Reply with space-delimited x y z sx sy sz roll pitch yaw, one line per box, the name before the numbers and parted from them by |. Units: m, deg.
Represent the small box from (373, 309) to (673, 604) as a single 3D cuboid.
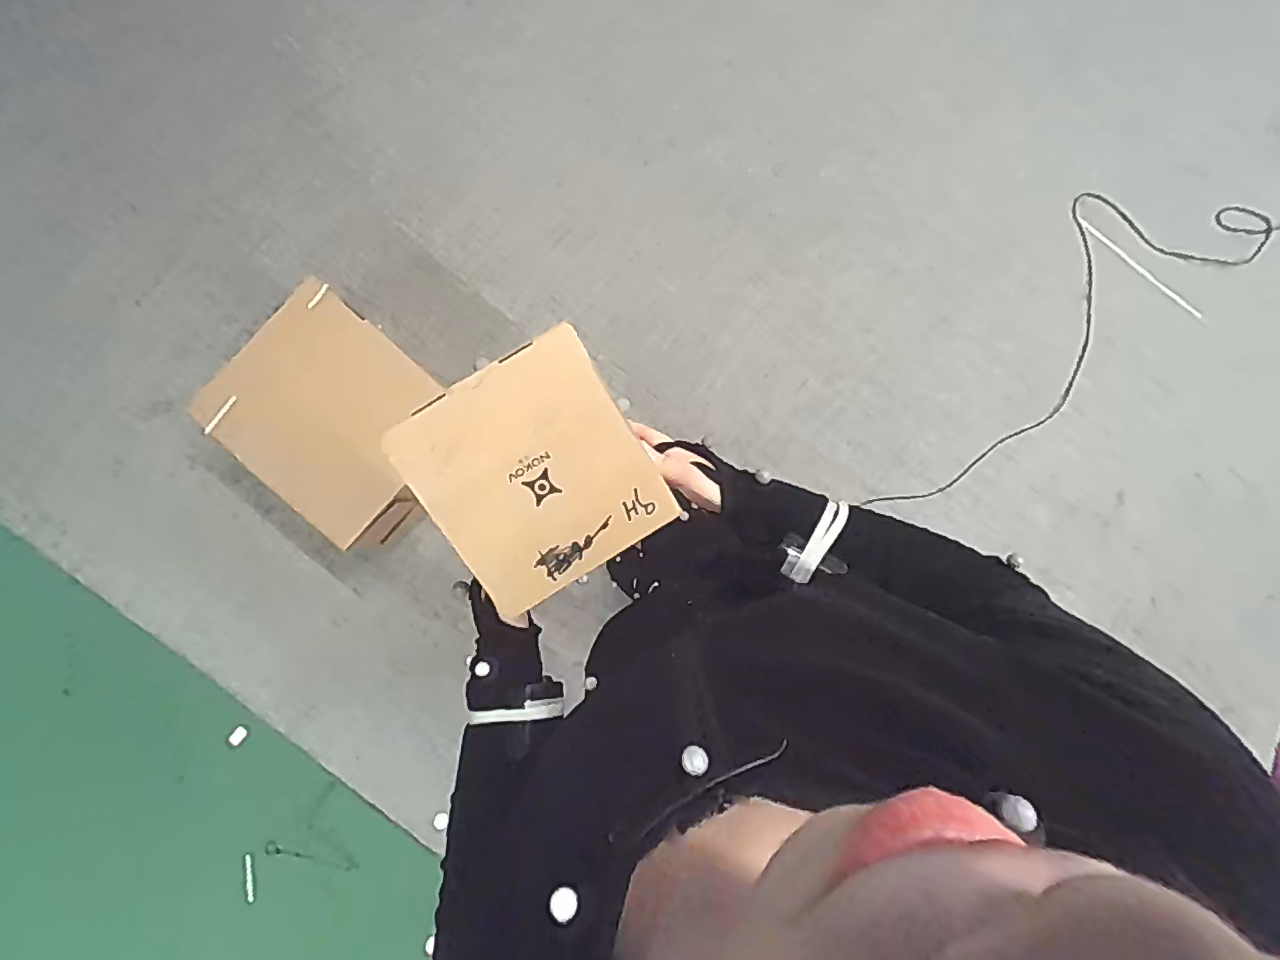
small box | -0.095 -0.026 0.489 0.168 0.176 0.179 -32 103 -1
